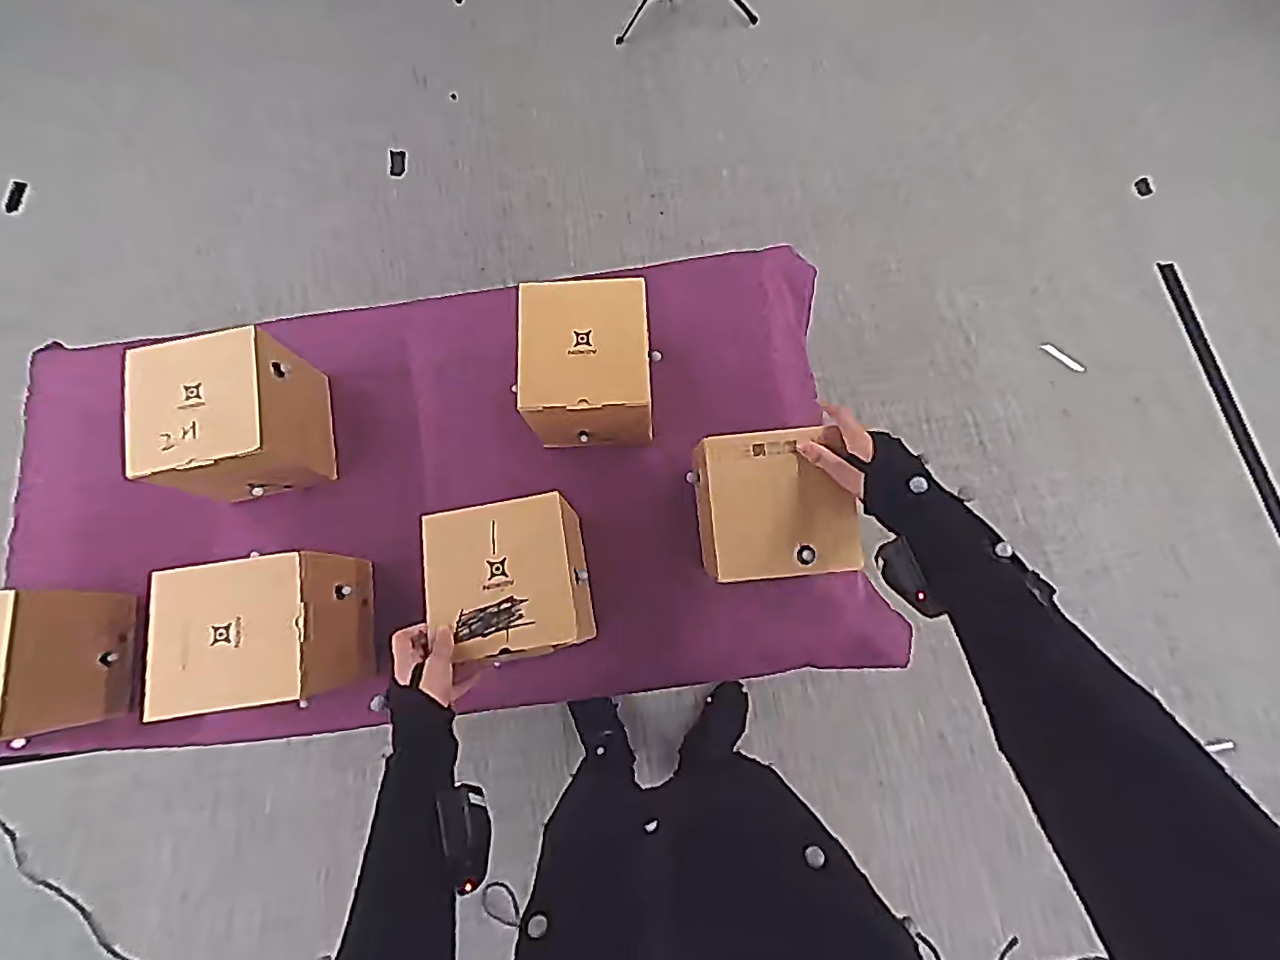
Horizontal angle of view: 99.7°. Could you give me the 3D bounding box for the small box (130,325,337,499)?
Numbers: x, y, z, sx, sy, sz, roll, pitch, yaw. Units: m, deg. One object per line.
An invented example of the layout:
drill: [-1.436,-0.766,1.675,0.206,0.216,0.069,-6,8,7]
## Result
small box: [-0.553,-0.086,0.757,0.168,0.176,0.179,-12,77,-1]

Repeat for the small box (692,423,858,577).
small box: [0.160,0.024,0.693,0.168,0.179,0.176,-6,87,1]

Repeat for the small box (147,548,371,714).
small box: [-0.462,0.185,0.688,0.179,0.176,0.168,-8,76,-1]

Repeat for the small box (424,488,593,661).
small box: [-0.159,0.124,0.695,0.168,0.176,0.179,-10,75,-1]

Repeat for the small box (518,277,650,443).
small box: [-0.071,-0.161,0.765,0.168,0.176,0.179,-3,78,1]
